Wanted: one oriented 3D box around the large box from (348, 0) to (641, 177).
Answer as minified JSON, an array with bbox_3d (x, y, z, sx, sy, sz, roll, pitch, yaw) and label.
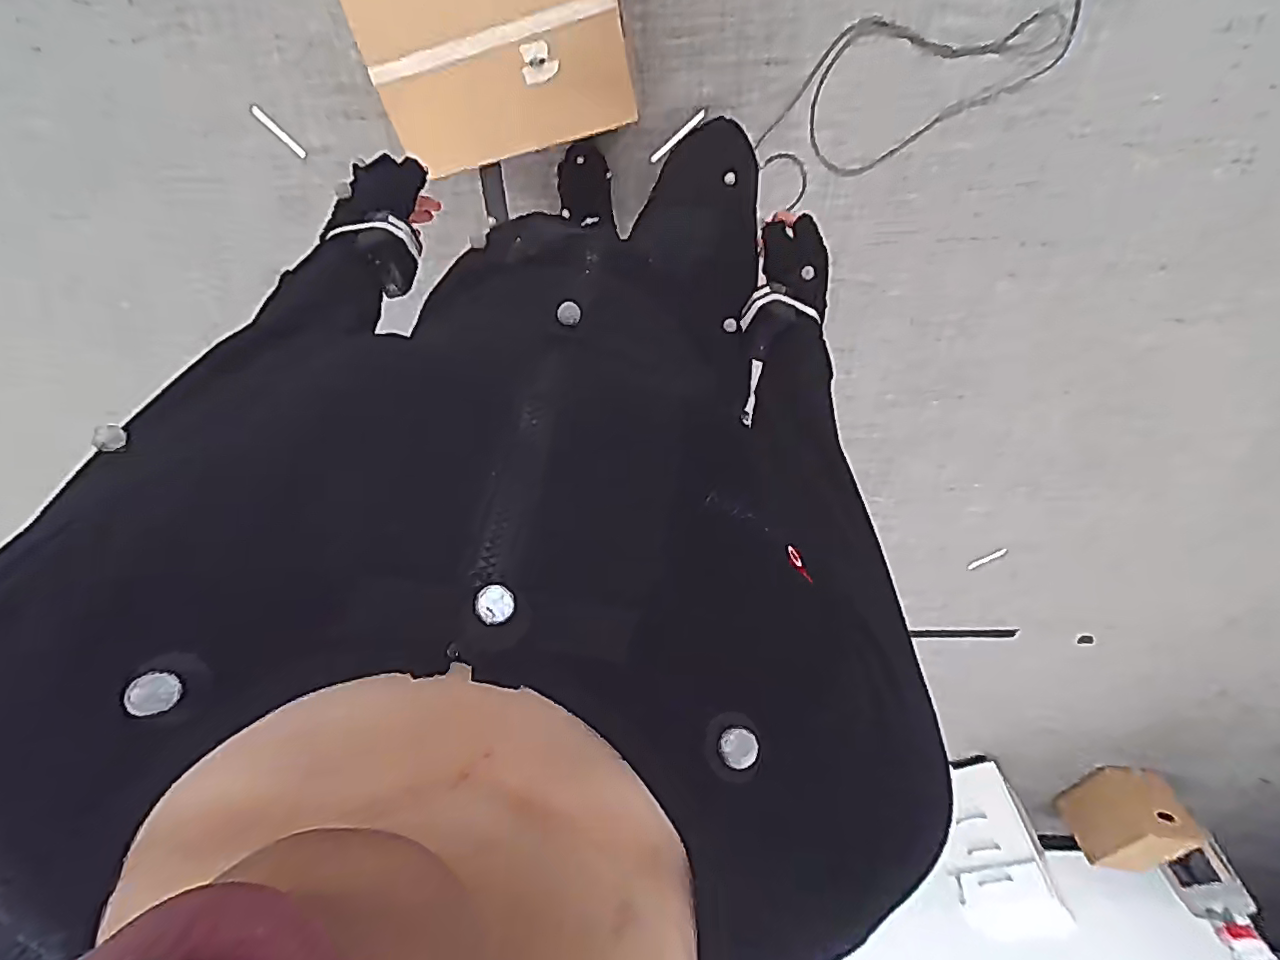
[{"bbox_3d":[-0.227,-0.777,0.958,0.408,0.320,0.320,-10,126,9],"label":"large box"}]
